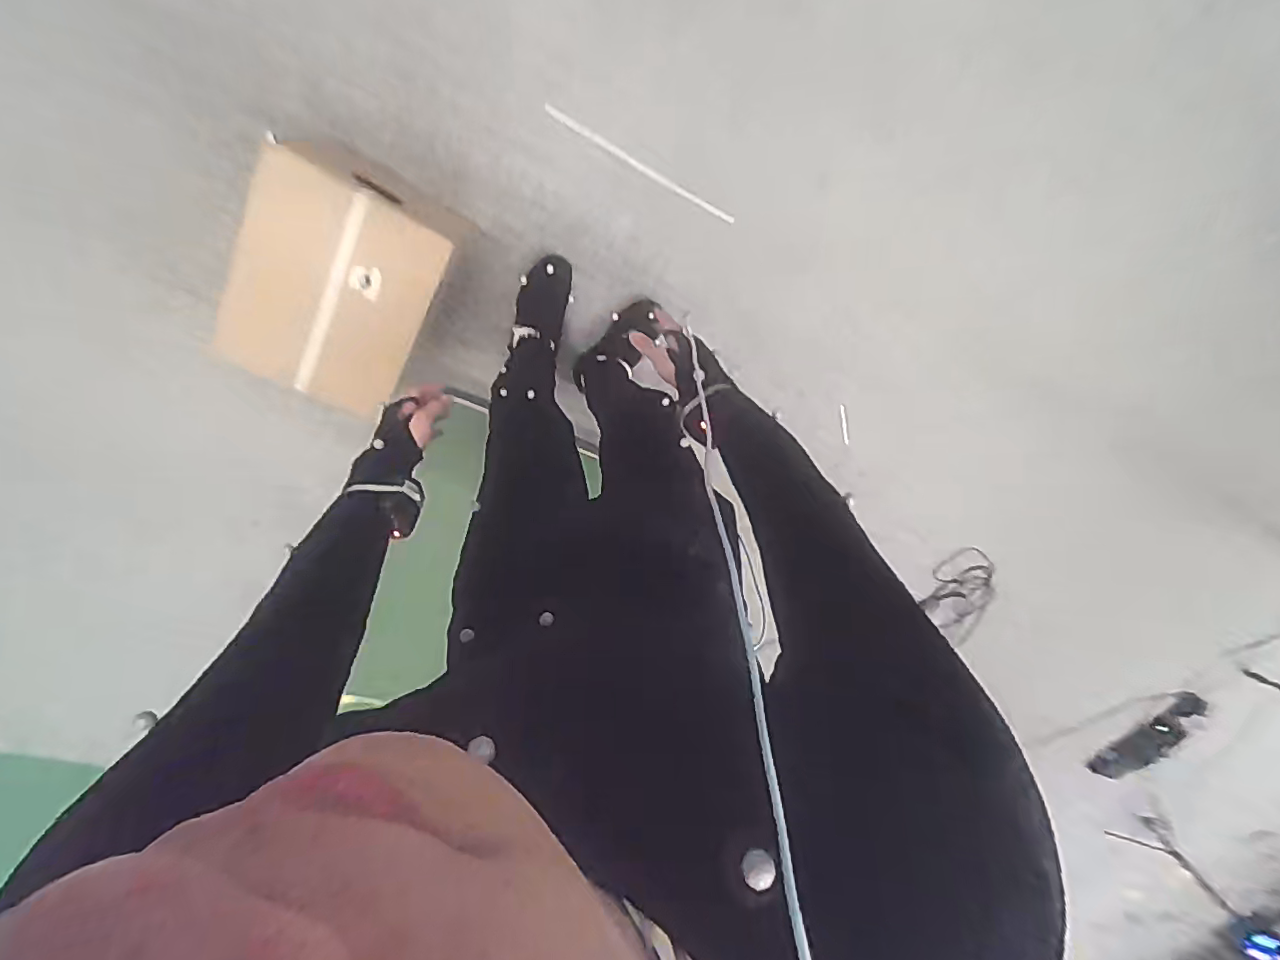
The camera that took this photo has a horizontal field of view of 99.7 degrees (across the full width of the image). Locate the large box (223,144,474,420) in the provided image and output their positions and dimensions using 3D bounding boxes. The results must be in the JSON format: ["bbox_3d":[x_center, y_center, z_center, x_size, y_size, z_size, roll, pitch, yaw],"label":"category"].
[{"bbox_3d":[-0.583,-0.405,1.127,0.320,0.320,0.408,24,114,-22],"label":"large box"}]
